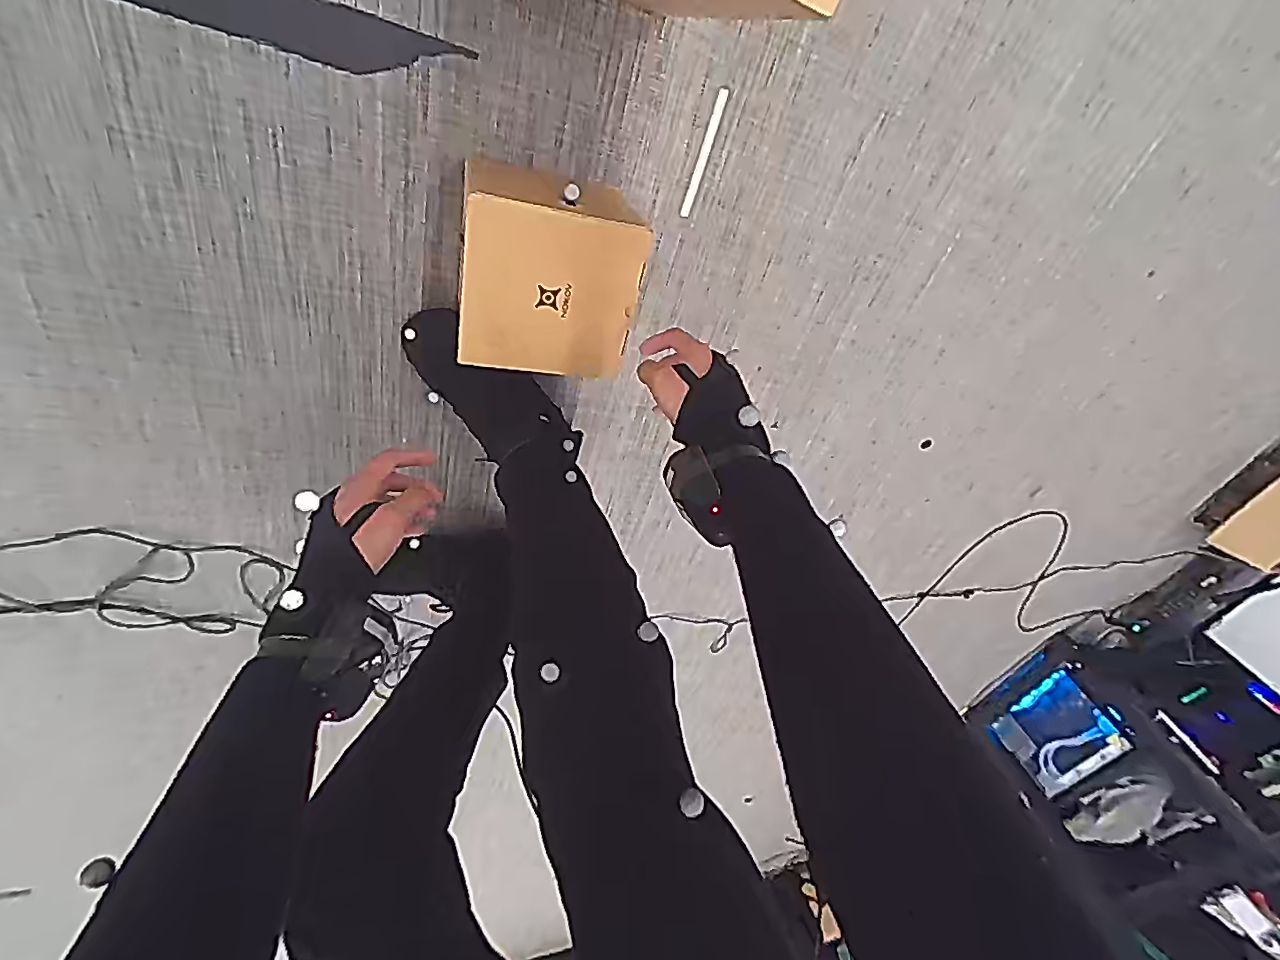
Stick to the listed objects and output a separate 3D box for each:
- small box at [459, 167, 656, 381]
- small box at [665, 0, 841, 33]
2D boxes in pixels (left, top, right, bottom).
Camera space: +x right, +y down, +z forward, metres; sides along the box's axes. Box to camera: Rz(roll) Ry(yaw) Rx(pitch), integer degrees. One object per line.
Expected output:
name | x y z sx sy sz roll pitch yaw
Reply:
small box | -0.105 -0.230 0.602 0.179 0.176 0.168 2 128 -21
small box | 0.037 -0.382 0.295 0.179 0.176 0.168 6 126 -22
